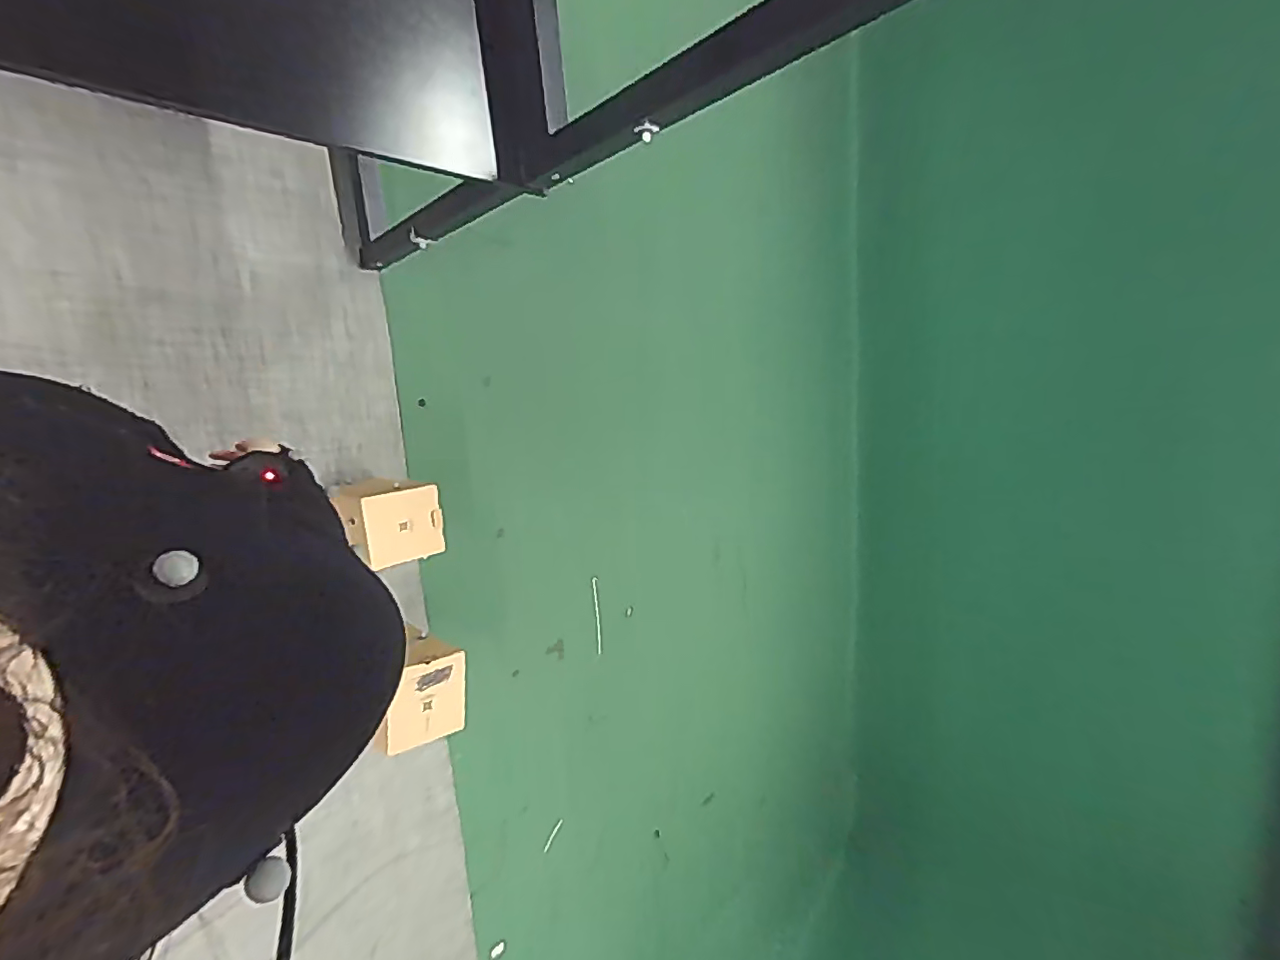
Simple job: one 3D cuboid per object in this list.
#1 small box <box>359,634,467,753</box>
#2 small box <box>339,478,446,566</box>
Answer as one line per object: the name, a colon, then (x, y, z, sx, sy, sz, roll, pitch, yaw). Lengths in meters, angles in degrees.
small box: (-0.491, 0.444, 1.165, 0.168, 0.176, 0.179, -2, 95, -46)
small box: (-0.587, 0.092, 1.272, 0.179, 0.176, 0.168, -15, 104, -46)
